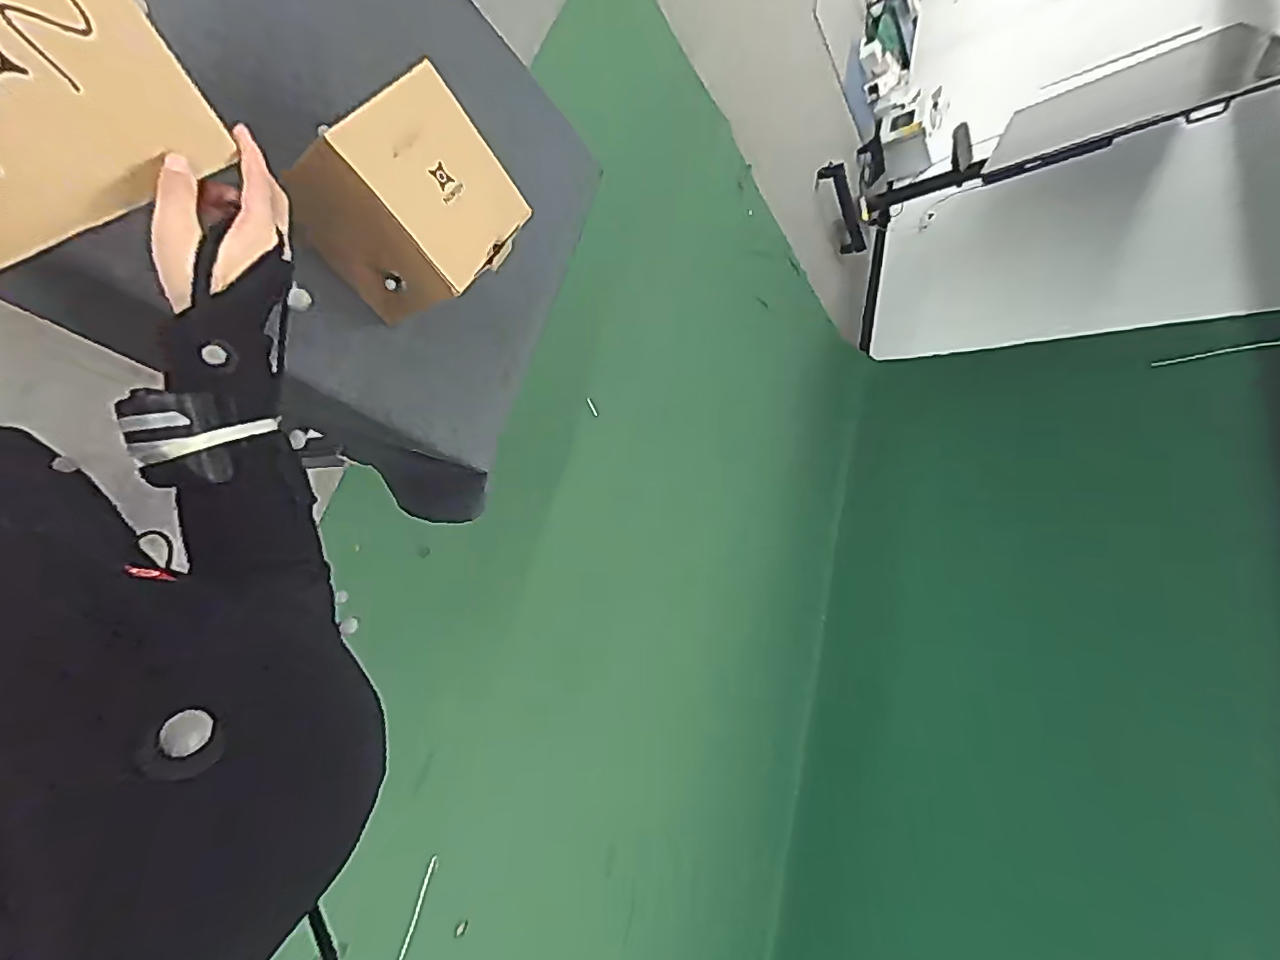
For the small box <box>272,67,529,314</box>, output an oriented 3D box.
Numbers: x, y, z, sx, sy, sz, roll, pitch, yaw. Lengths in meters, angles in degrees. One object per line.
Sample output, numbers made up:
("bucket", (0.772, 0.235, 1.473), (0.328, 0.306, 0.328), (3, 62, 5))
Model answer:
("small box", (-0.271, -0.314, 0.625), (0.179, 0.176, 0.168), (50, 53, -36))
